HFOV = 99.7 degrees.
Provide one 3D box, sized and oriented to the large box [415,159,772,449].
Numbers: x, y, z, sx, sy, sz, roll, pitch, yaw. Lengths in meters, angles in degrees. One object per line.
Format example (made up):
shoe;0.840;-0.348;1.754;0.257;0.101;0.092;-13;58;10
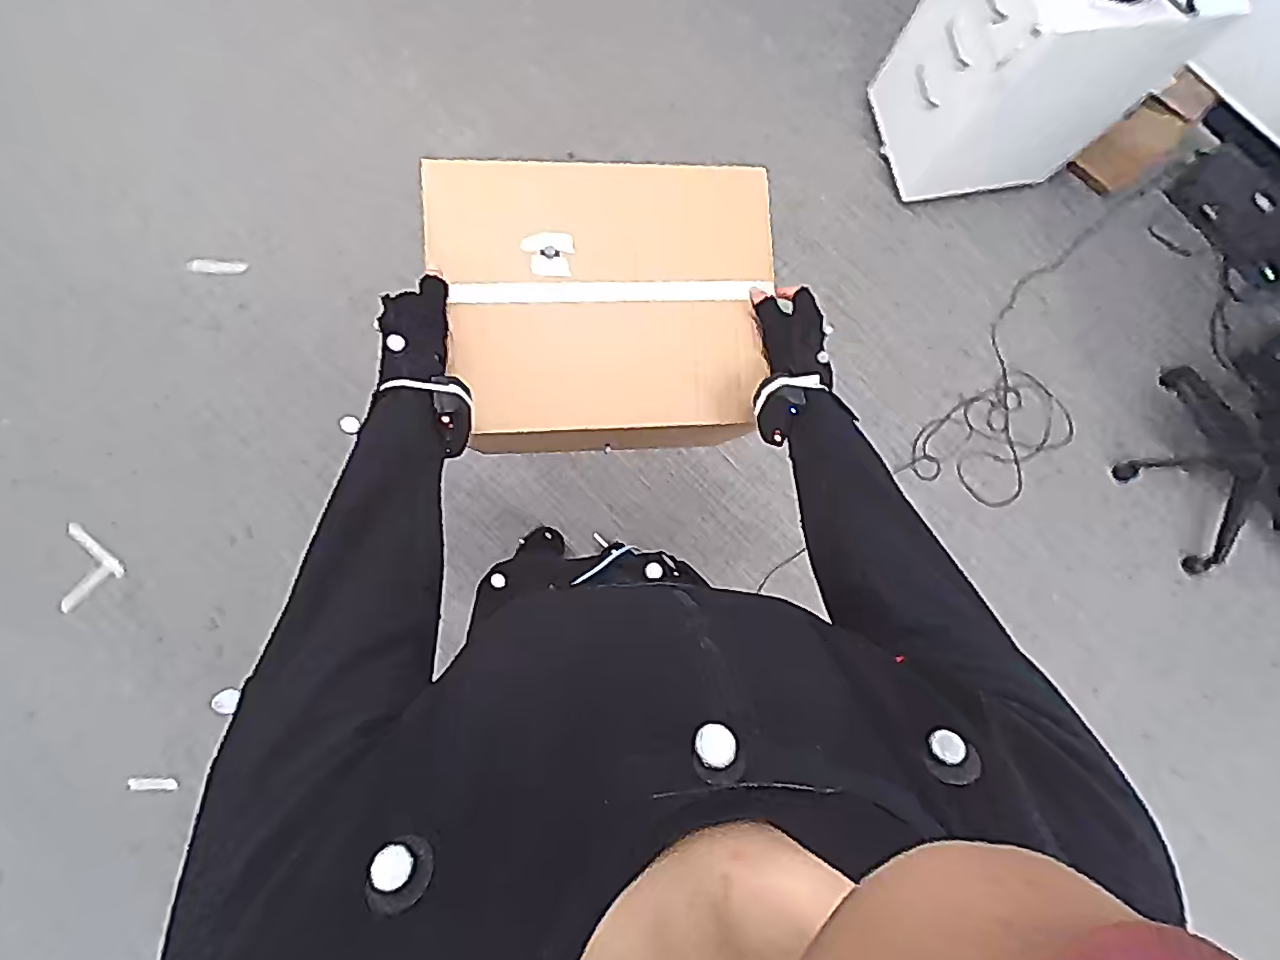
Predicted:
large box;-0.063;-0.221;0.784;0.408;0.320;0.320;-5;89;-7
